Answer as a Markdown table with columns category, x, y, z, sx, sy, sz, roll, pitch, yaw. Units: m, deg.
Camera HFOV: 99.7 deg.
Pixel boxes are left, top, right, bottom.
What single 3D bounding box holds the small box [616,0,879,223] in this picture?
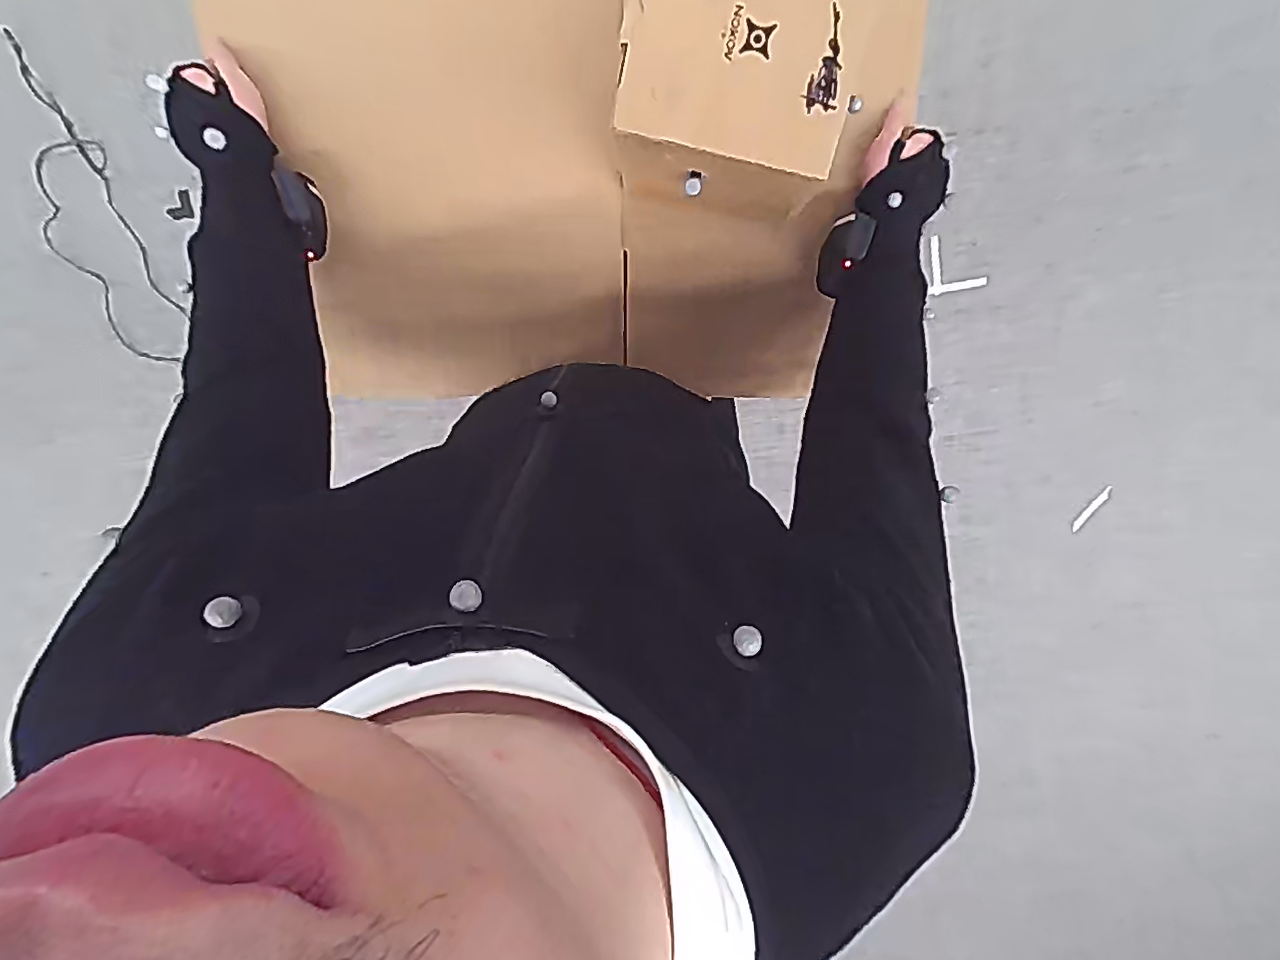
| category | x | y | z | sx | sy | sz | roll | pitch | yaw |
| --- | --- | --- | --- | --- | --- | --- | --- | --- | --- |
| small box | 0.089 | -0.351 | 0.487 | 0.179 | 0.176 | 0.168 | 14 | 103 | 1 |
